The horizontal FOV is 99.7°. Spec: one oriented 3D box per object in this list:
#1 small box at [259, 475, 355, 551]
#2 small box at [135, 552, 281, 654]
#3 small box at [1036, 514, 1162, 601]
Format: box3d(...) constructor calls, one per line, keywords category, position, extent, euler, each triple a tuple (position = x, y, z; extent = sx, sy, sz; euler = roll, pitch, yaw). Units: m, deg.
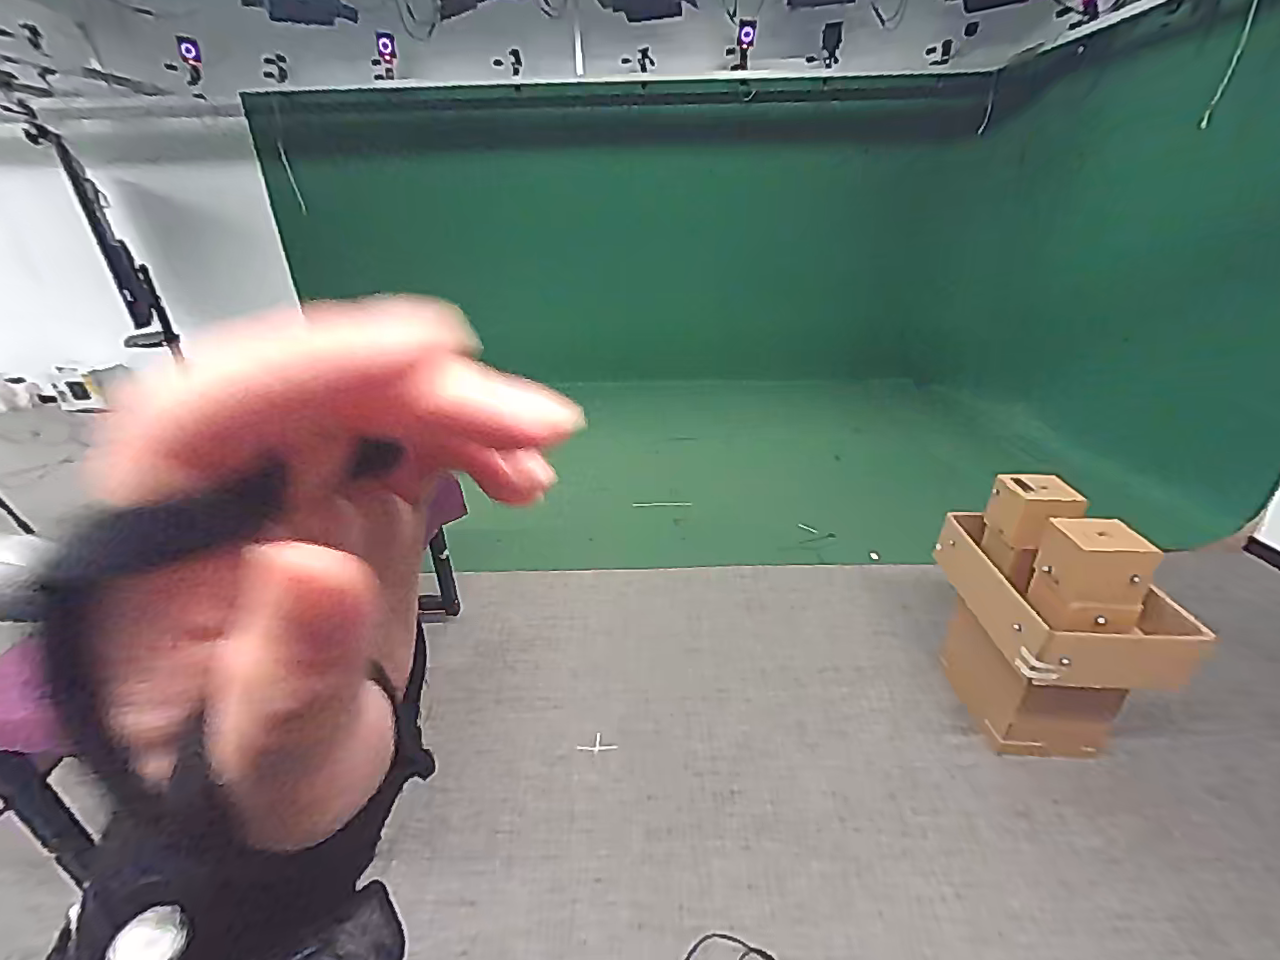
box3d(category="small box", position=(-0.983, 0.097, 1.617), extent=(0.168, 0.176, 0.179), euler=(-2, 26, 3))
box3d(category="small box", position=(-0.972, 0.281, 1.238), extent=(0.179, 0.176, 0.168), euler=(-1, 25, 1))
box3d(category="small box", position=(1.195, 0.205, 1.425), extent=(0.179, 0.176, 0.168), euler=(0, 25, 8))
